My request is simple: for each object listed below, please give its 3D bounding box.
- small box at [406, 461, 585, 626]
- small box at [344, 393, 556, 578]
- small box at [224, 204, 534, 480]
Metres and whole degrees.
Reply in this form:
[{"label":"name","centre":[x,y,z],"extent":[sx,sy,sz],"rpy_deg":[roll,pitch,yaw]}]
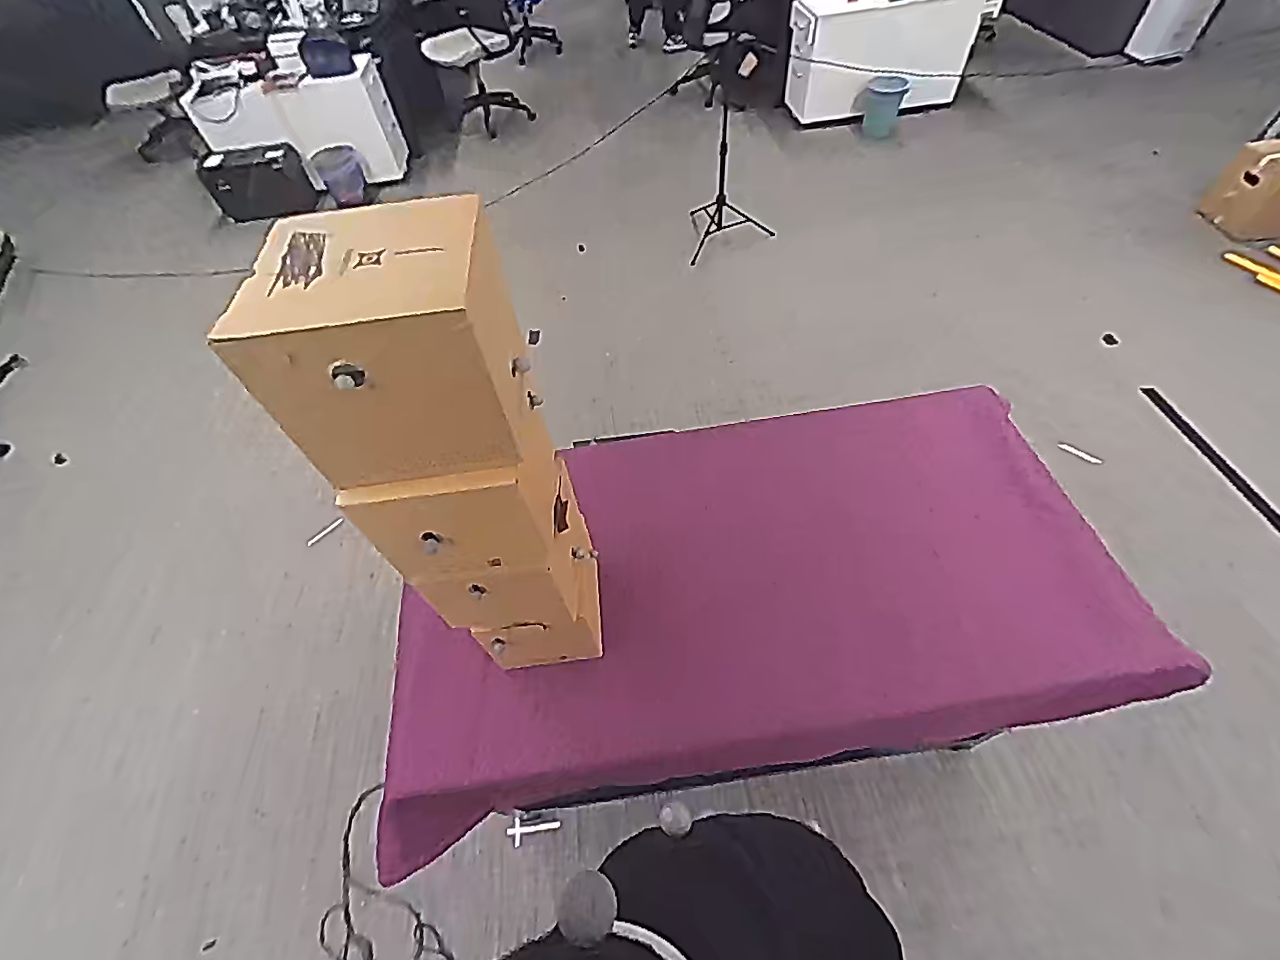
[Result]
[{"label":"small box","centre":[-0.179,0.091,0.733],"extent":[0.179,0.176,0.168],"rpy_deg":[-2,54,3]},{"label":"small box","centre":[-0.189,-0.004,0.601],"extent":[0.168,0.176,0.179],"rpy_deg":[-7,52,0]},{"label":"small box","centre":[-0.201,-0.115,0.479],"extent":[0.179,0.176,0.168],"rpy_deg":[-7,52,-1]}]
